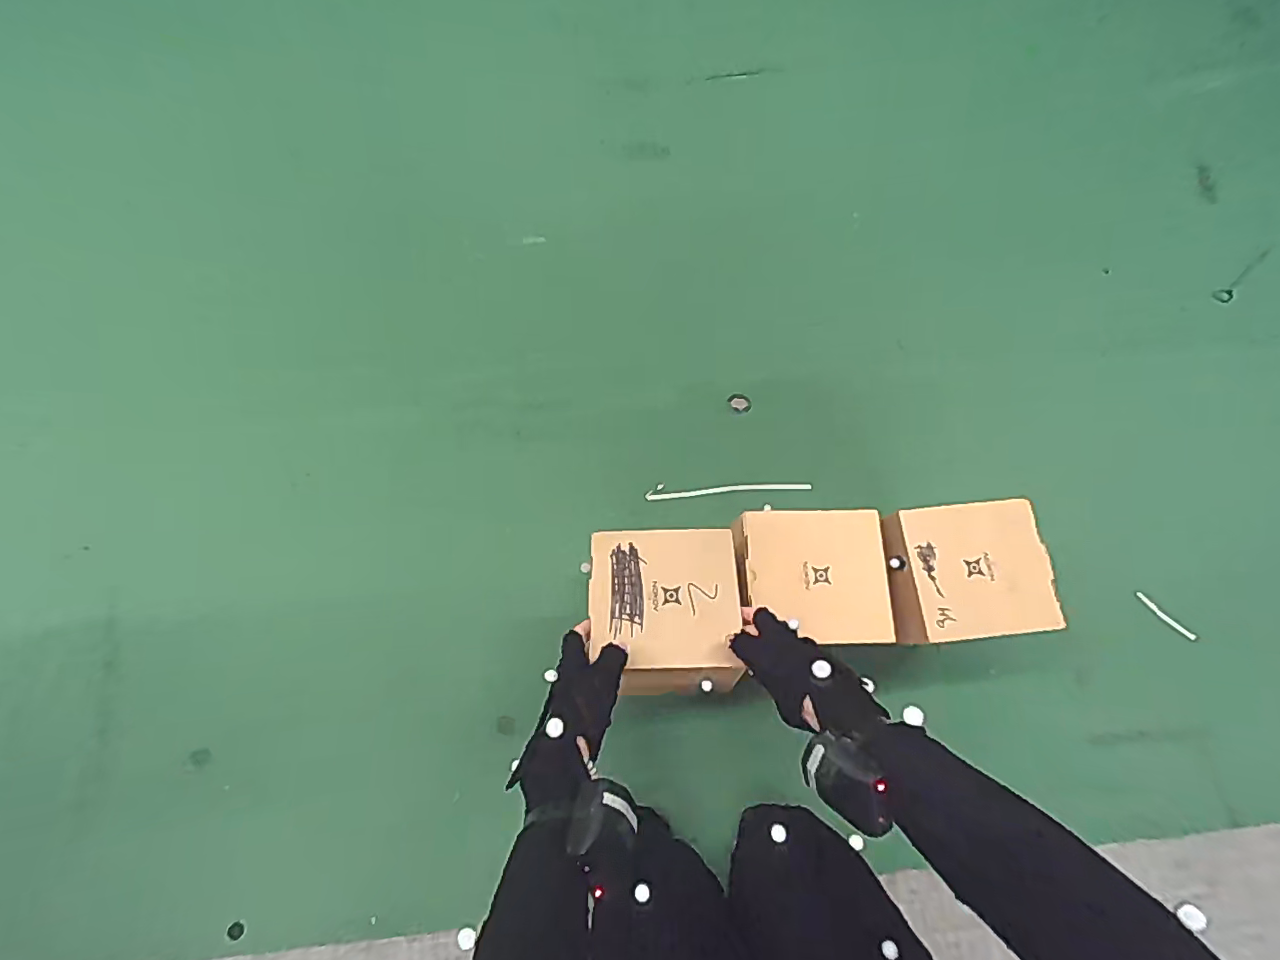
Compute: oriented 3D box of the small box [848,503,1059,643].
[{"bbox_3d":[0.419,0.134,0.754,0.179,0.176,0.168,-4,74,-2],"label":"small box"}]
